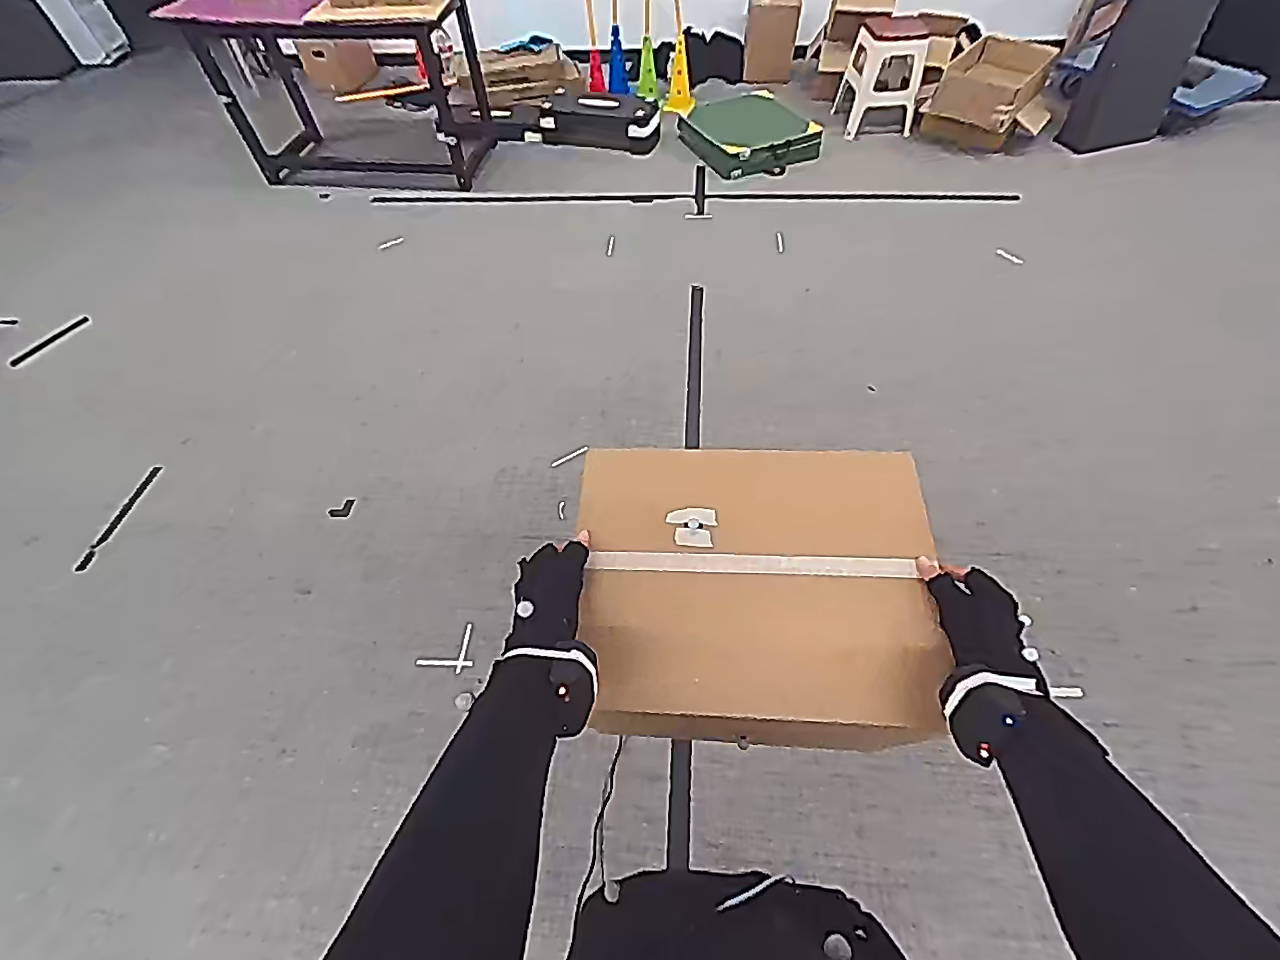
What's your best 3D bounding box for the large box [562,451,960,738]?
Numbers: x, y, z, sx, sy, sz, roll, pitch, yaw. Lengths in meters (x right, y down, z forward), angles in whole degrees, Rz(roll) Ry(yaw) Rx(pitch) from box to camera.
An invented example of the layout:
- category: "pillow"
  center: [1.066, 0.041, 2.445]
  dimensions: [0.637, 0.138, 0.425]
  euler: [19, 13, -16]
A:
- category: "large box"
  center: [0.138, 0.171, 0.744]
  dimensions: [0.408, 0.320, 0.320]
  euler: [1, 60, 7]
